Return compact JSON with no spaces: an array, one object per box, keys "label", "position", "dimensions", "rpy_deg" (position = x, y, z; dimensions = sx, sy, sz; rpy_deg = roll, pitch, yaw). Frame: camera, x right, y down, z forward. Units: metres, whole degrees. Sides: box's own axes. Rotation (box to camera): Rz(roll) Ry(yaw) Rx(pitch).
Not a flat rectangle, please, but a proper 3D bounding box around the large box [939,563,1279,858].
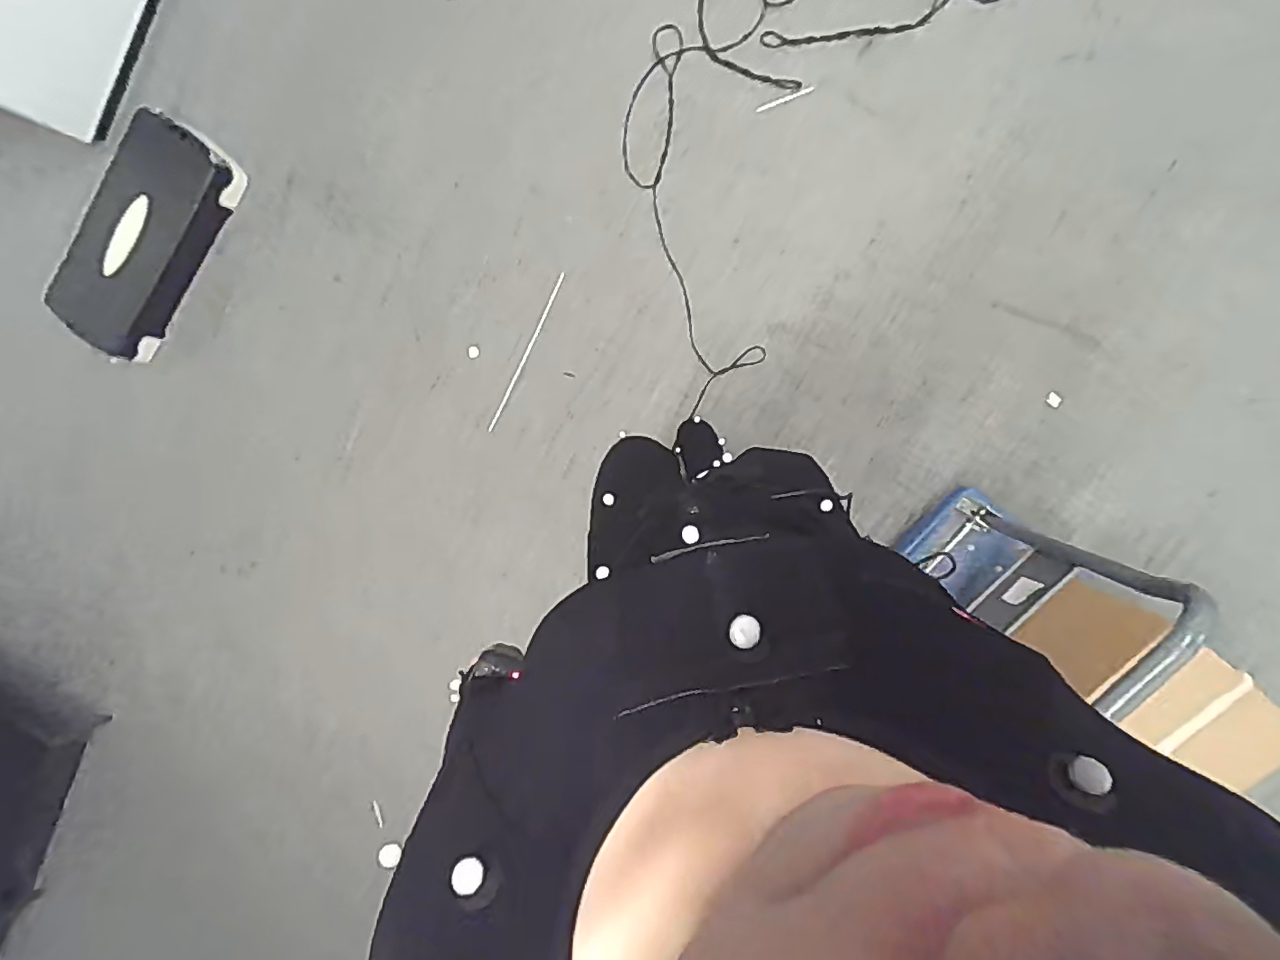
[{"label":"large box","position":[0.940,0.449,1.132],"dimensions":[0.320,0.320,0.408],"rpy_deg":[41,101,2]}]
